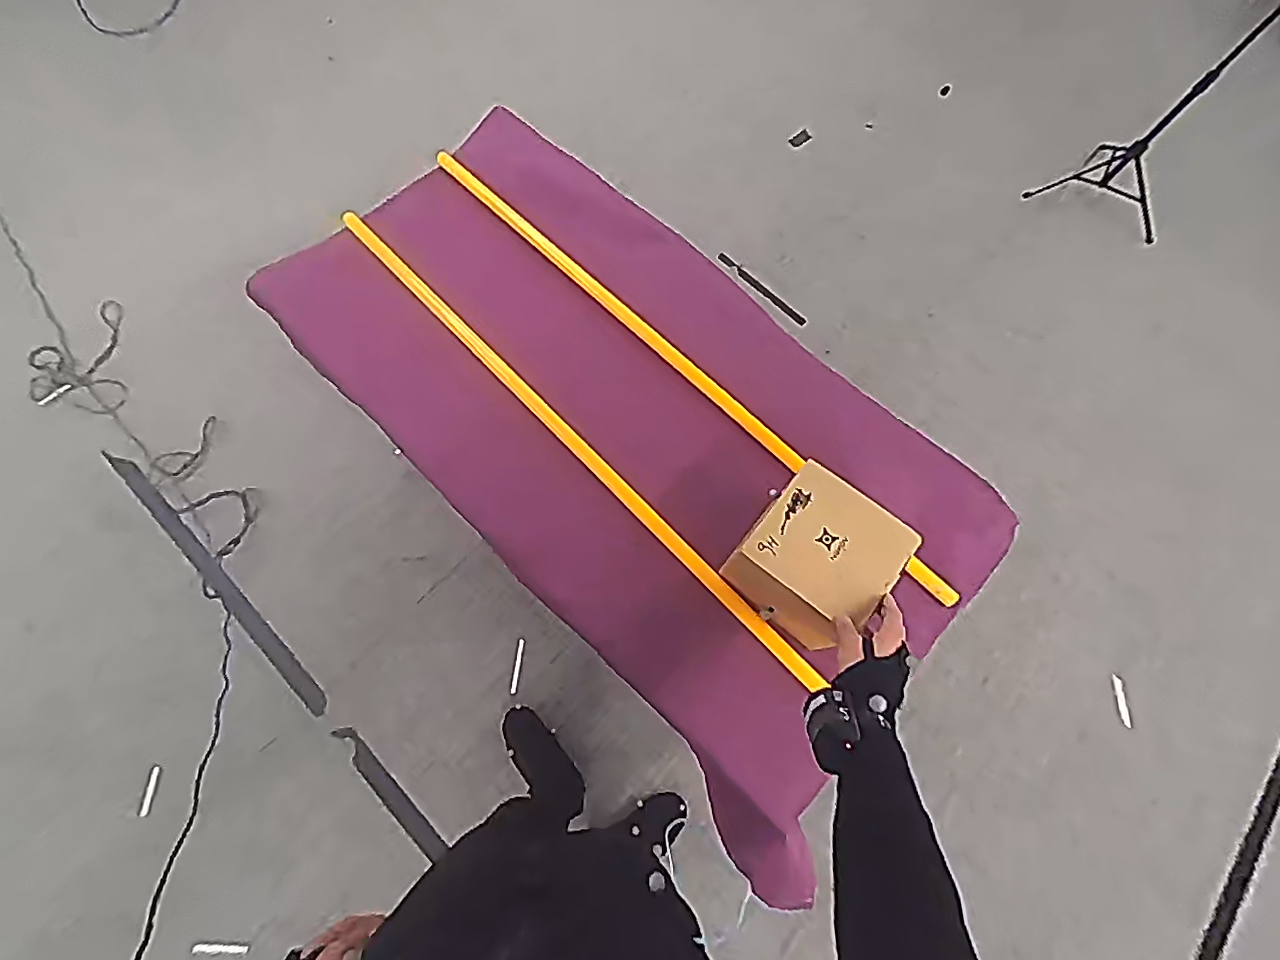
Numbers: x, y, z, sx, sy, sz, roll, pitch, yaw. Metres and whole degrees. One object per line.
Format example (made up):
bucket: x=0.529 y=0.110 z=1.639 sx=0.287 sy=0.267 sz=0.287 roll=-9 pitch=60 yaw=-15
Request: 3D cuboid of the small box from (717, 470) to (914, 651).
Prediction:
small box: x=0.233 y=0.120 z=0.762 sx=0.179 sy=0.176 sz=0.168 roll=39 pitch=73 yaw=11
